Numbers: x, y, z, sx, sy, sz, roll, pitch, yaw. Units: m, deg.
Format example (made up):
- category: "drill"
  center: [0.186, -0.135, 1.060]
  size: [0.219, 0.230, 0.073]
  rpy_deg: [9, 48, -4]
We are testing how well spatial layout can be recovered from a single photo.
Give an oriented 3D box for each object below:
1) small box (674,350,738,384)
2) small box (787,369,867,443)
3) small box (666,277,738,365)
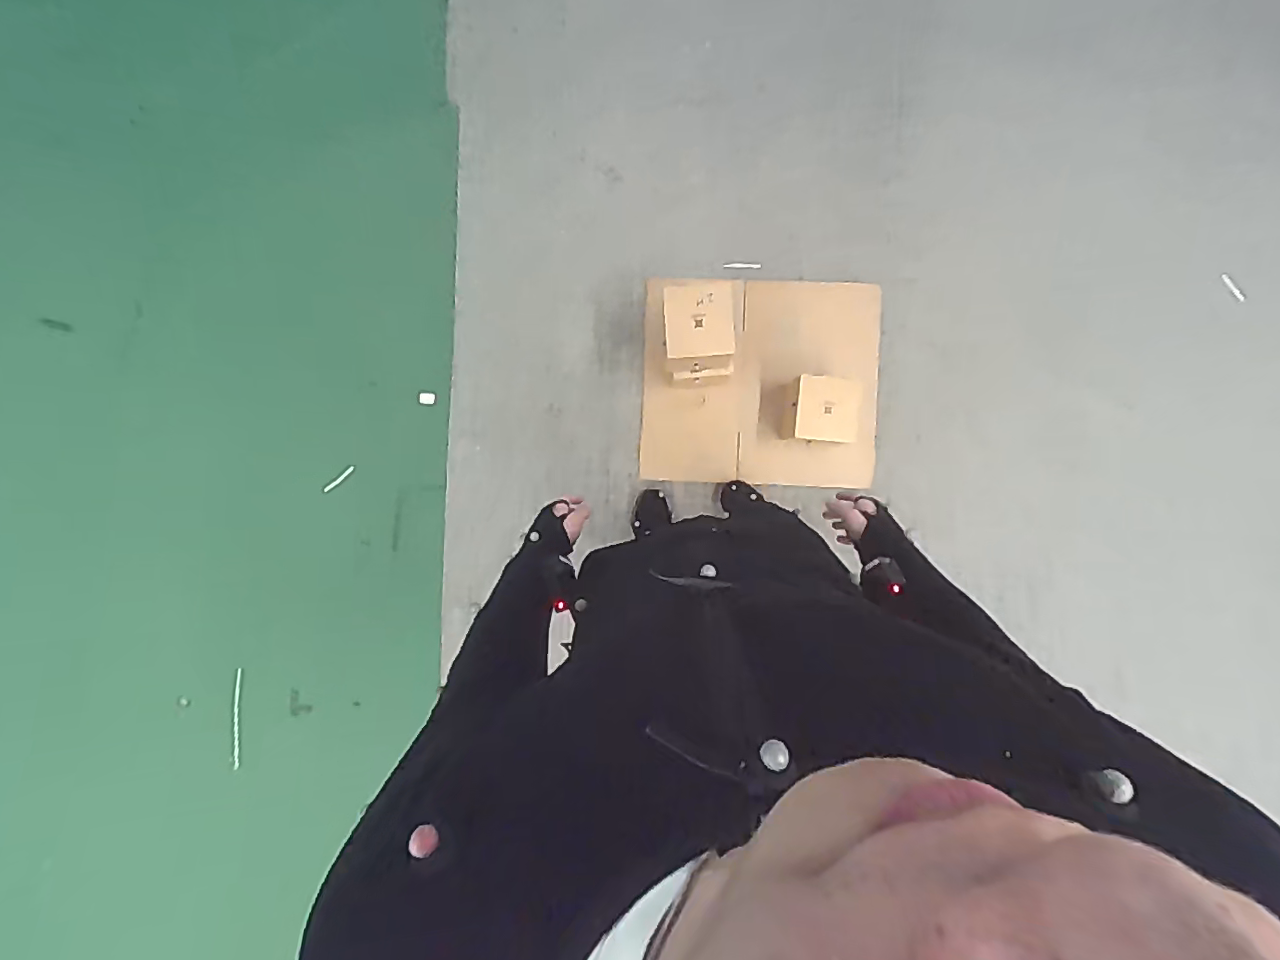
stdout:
- category: "small box"
  center: [0.178, -0.375, 1.521]
  size: [0.168, 0.176, 0.179]
  rpy_deg: [-4, 90, 3]
- category: "small box"
  center: [0.512, -0.199, 1.504]
  size: [0.168, 0.176, 0.179]
  rpy_deg: [6, 90, 3]
- category: "small box"
  center: [0.151, -0.389, 1.357]
  size: [0.168, 0.176, 0.179]
  rpy_deg: [-3, 90, 2]
